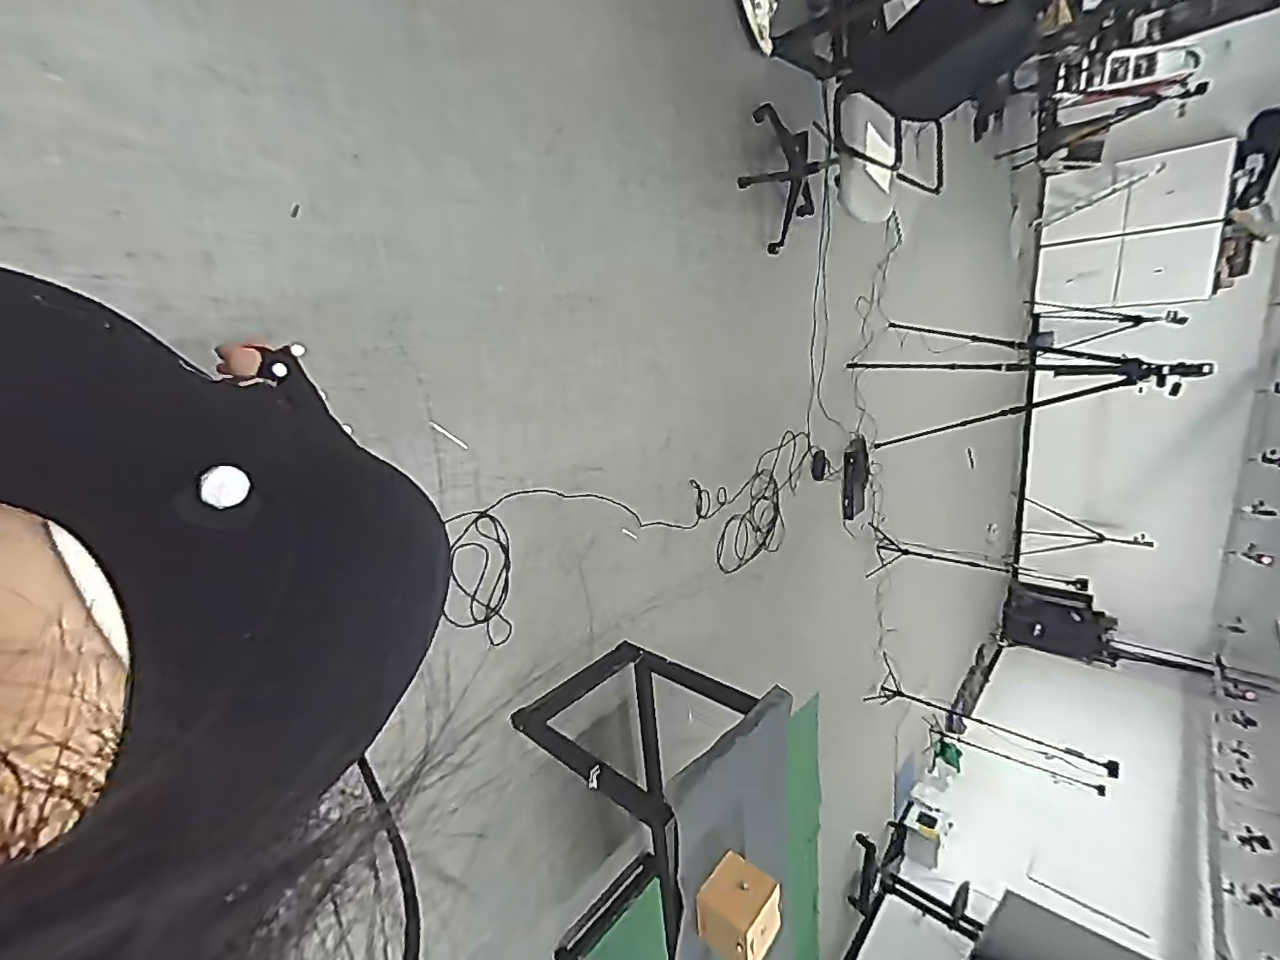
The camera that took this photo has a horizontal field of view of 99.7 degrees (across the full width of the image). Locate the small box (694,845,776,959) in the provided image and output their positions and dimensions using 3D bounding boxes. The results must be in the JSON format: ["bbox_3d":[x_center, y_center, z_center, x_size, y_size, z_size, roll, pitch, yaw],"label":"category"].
[{"bbox_3d":[0.272,1.200,1.542,0.179,0.176,0.168,-21,111,-45],"label":"small box"}]
